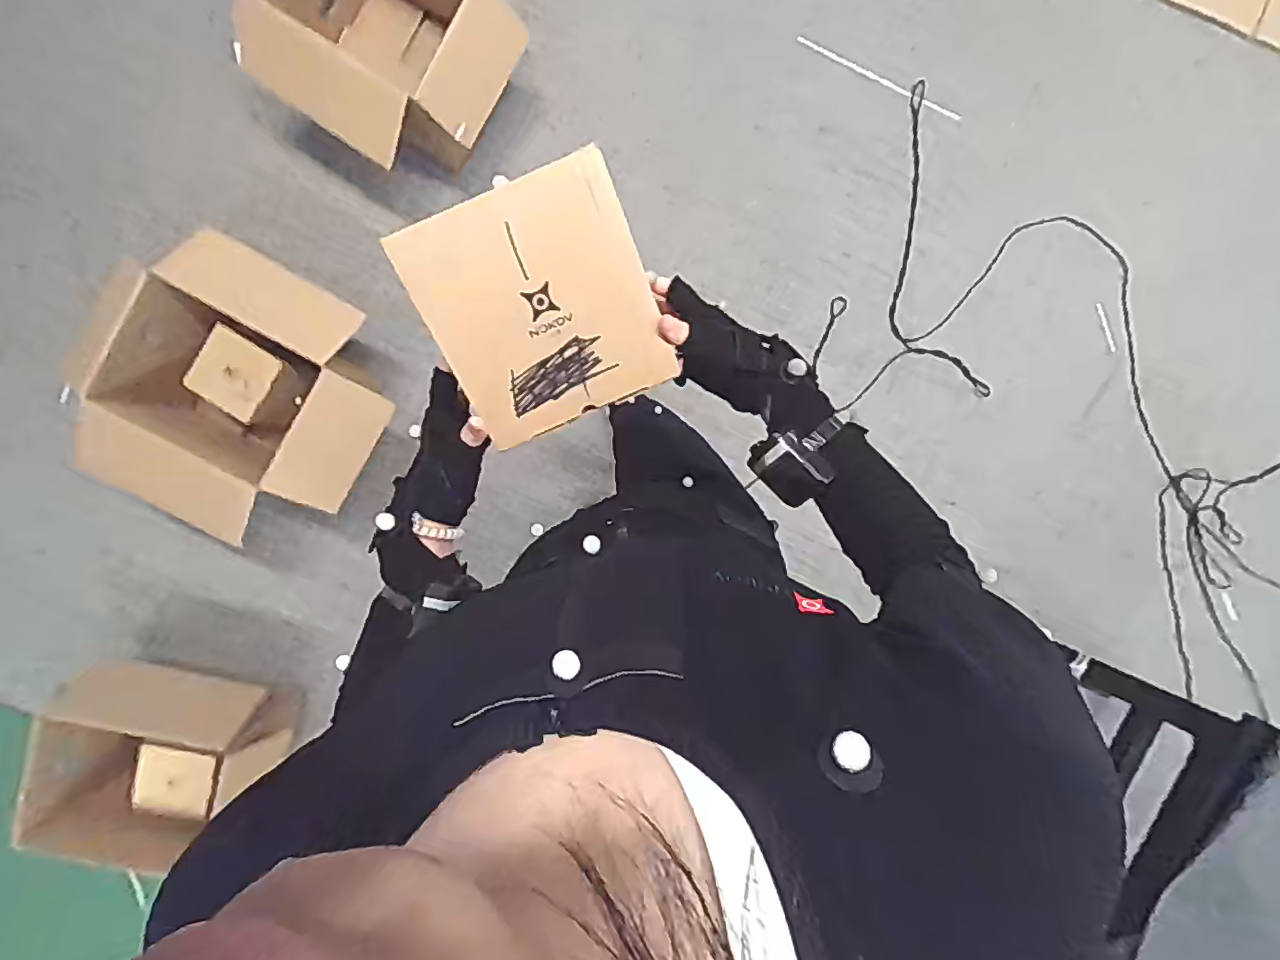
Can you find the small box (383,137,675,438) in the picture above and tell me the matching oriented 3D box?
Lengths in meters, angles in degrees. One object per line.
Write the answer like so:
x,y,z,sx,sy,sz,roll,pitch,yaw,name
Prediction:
-0.085,-0.167,0.477,0.168,0.176,0.179,-23,115,1,small box
